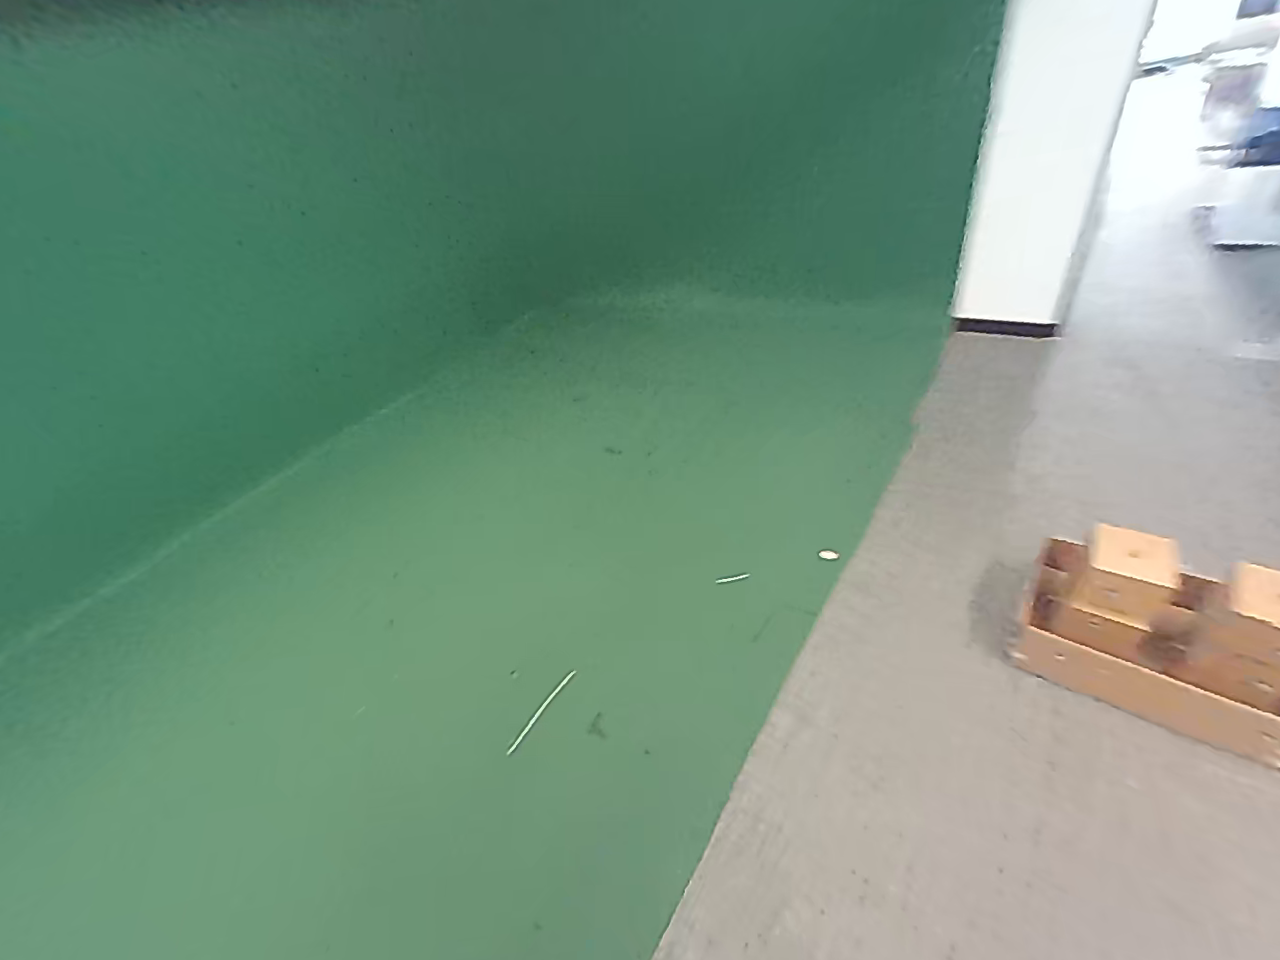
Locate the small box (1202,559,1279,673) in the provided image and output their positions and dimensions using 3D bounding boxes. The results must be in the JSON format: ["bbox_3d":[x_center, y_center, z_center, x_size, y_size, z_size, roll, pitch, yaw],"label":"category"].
[{"bbox_3d":[1.494,0.329,1.289,0.168,0.176,0.179,23,52,35],"label":"small box"}]

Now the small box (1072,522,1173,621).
[{"bbox_3d":[1.289,0.247,1.450,0.168,0.176,0.179,16,48,31],"label":"small box"}]

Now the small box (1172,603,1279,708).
[{"bbox_3d":[1.527,0.453,1.389,0.179,0.176,0.168,21,51,36],"label":"small box"}]
